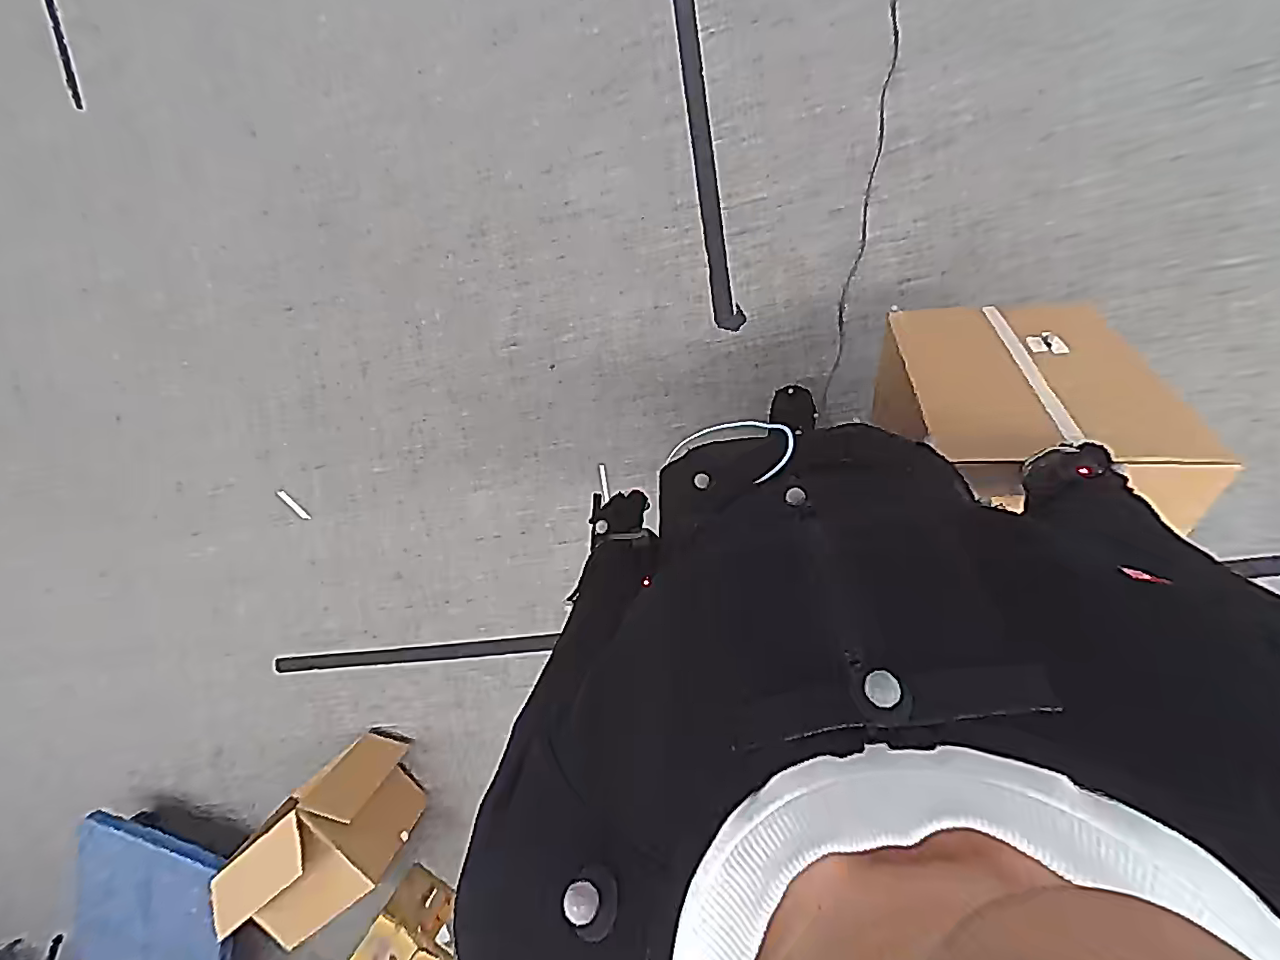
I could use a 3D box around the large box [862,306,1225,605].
[{"bbox_3d":[0.575,-0.046,0.890,0.320,0.408,0.320,1,132,10],"label":"large box"}]
